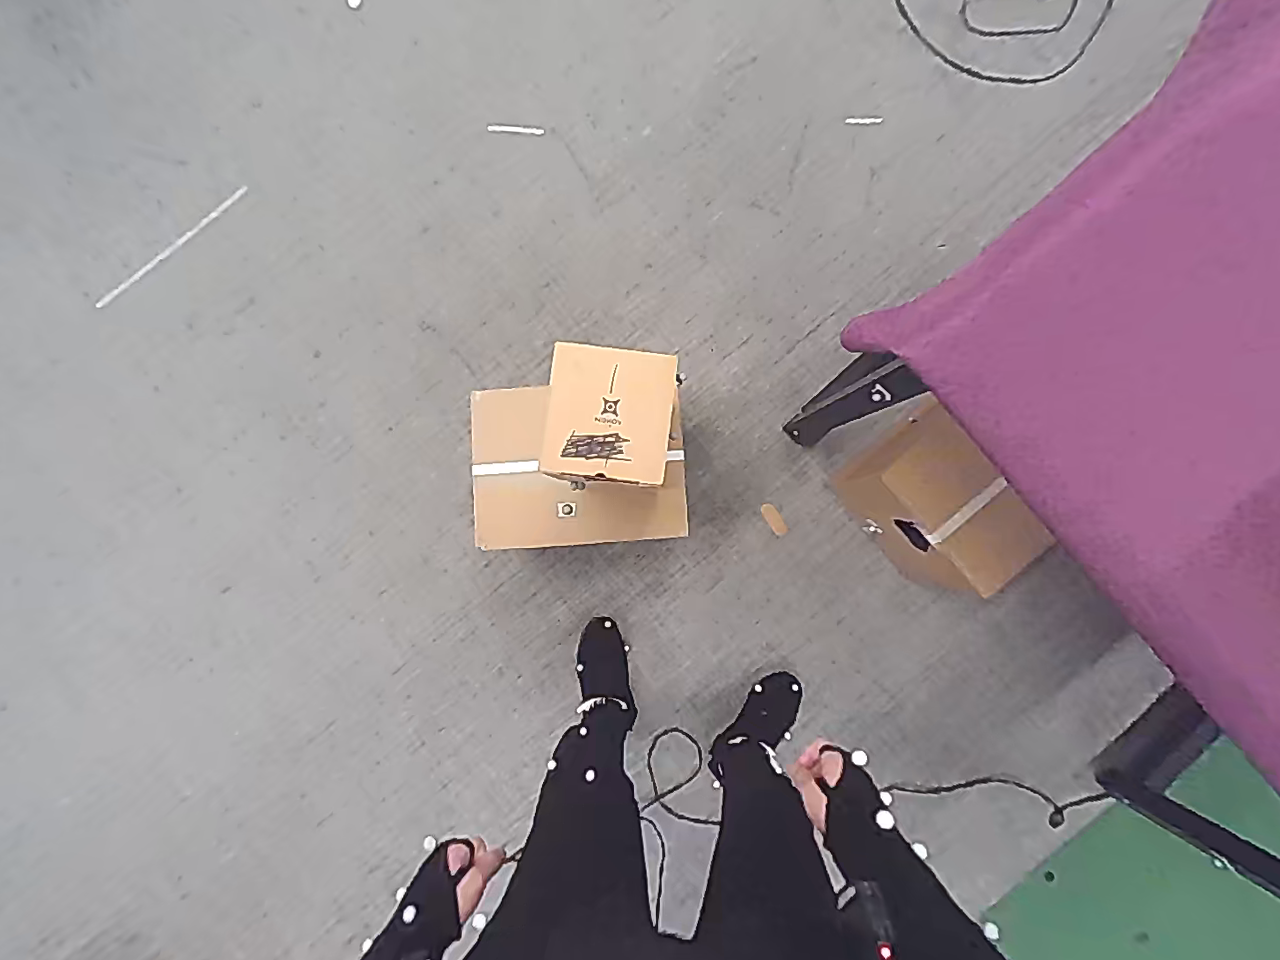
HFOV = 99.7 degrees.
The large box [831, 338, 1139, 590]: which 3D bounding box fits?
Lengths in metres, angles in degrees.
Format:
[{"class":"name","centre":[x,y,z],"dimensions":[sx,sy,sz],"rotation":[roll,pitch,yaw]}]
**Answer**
[{"class":"large box","centre":[0.706,-0.022,1.176],"dimensions":[0.408,0.320,0.320],"rotation":[-40,88,-3]}]

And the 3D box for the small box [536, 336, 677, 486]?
[{"class":"small box","centre":[-0.041,-0.087,0.774],"dimensions":[0.168,0.176,0.179],"rotation":[7,86,1]}]
